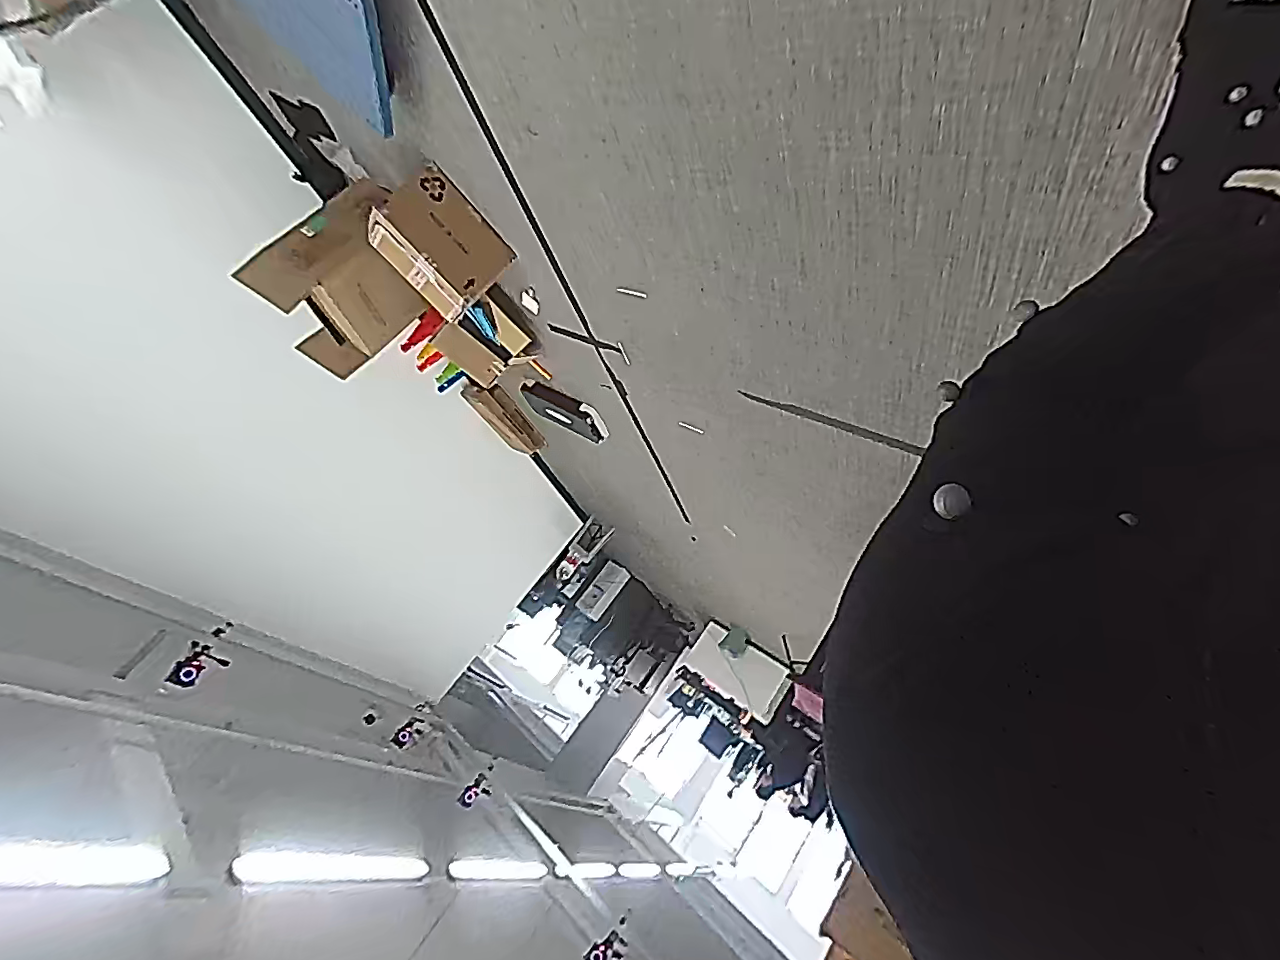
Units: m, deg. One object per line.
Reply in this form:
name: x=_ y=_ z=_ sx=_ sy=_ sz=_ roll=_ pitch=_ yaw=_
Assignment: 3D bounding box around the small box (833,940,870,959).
small box: x=0.715 y=1.681 z=1.796 sx=0.168 sy=0.176 sz=0.179 roll=24 pitch=158 yaw=37
